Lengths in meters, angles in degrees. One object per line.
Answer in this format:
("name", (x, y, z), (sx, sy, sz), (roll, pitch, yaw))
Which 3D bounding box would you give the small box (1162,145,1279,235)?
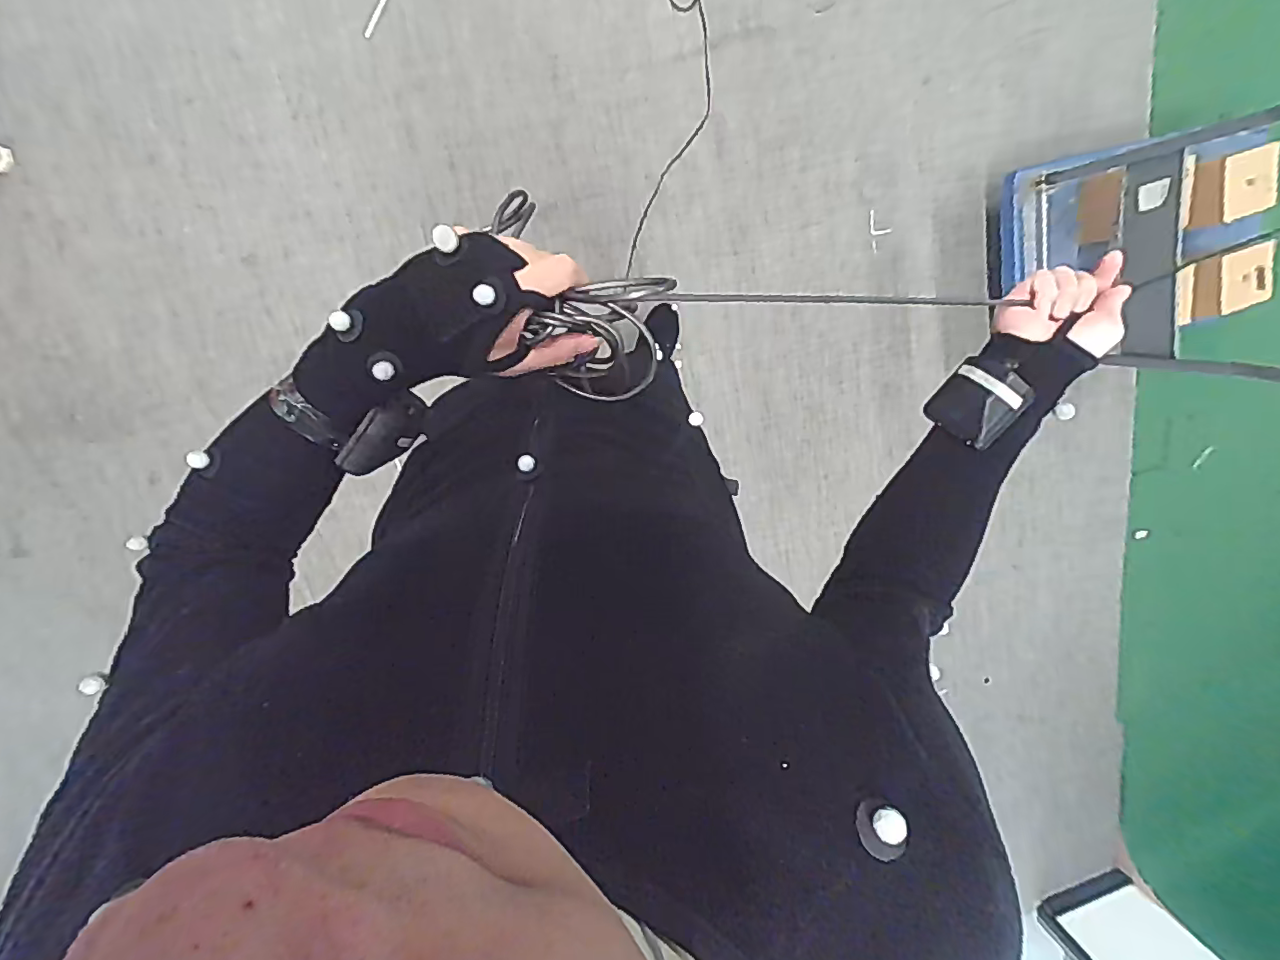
("small box", (1.615, -0.801, 1.511), (0.179, 0.176, 0.168), (-19, 108, -6))

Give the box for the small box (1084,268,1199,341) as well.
("small box", (1.431, -0.500, 1.552), (0.179, 0.176, 0.168), (-14, 106, -6))

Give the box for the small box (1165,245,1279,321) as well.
("small box", (1.690, -0.572, 1.583), (0.179, 0.176, 0.168), (-19, 106, -5))
